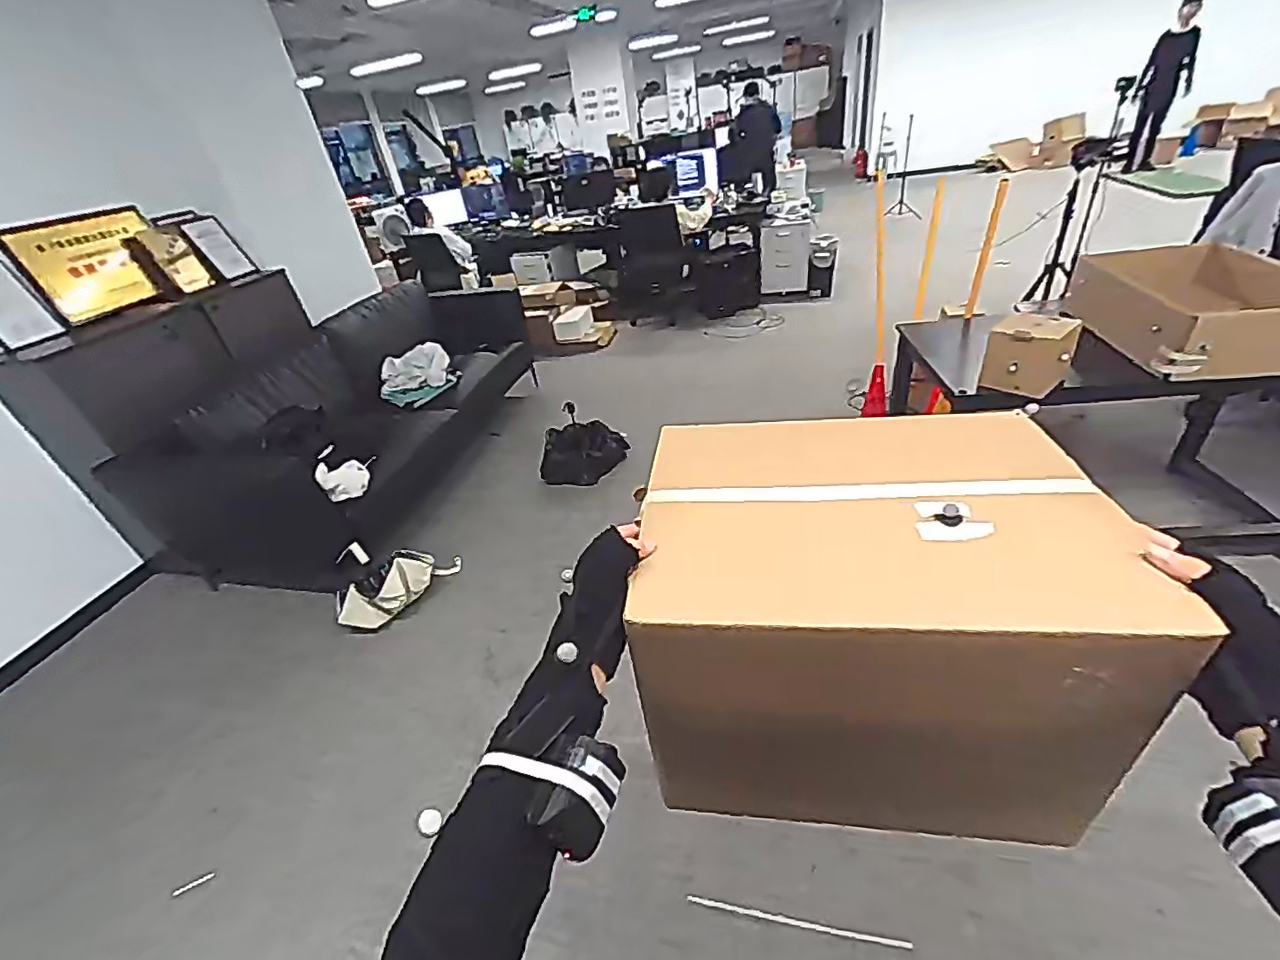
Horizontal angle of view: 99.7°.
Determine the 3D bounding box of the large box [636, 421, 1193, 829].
[{"bbox_3d":[0.223,0.147,0.607,0.408,0.320,0.320,-1,35,10],"label":"large box"}]
